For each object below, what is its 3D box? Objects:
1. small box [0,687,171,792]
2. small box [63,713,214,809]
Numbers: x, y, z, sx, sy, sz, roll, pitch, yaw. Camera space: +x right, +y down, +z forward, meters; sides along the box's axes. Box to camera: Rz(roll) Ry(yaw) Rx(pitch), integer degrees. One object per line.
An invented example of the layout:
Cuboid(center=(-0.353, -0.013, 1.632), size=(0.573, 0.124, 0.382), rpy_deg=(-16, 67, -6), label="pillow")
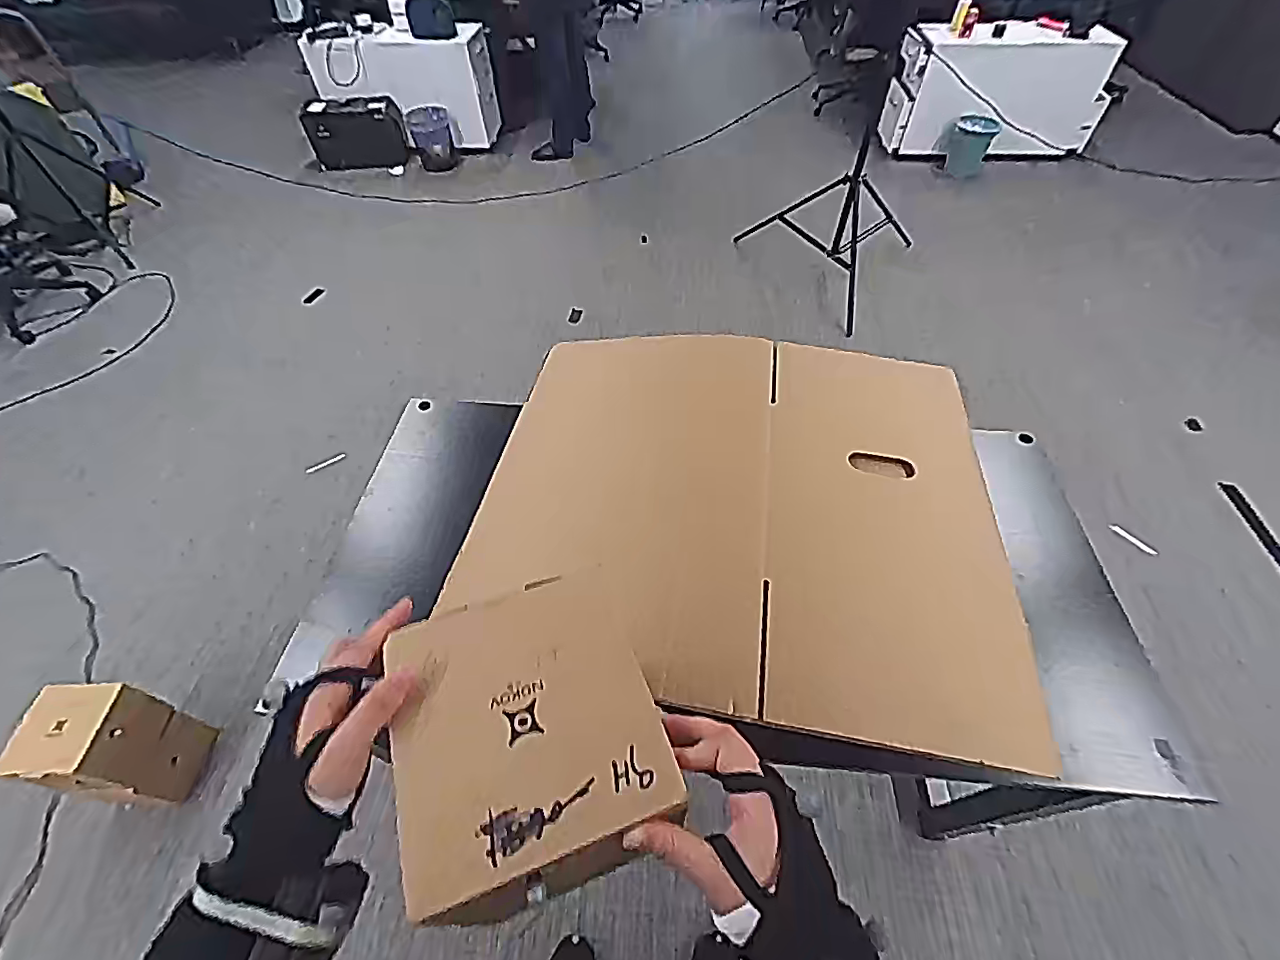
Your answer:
Cuboid(center=(-1.173, 0.561, 1.160), size=(0.168, 0.176, 0.179), rpy_deg=(-2, 50, -2), label="small box")
Cuboid(center=(-1.169, 0.667, 1.284), size=(0.168, 0.176, 0.179), rpy_deg=(0, 52, 1), label="small box")
